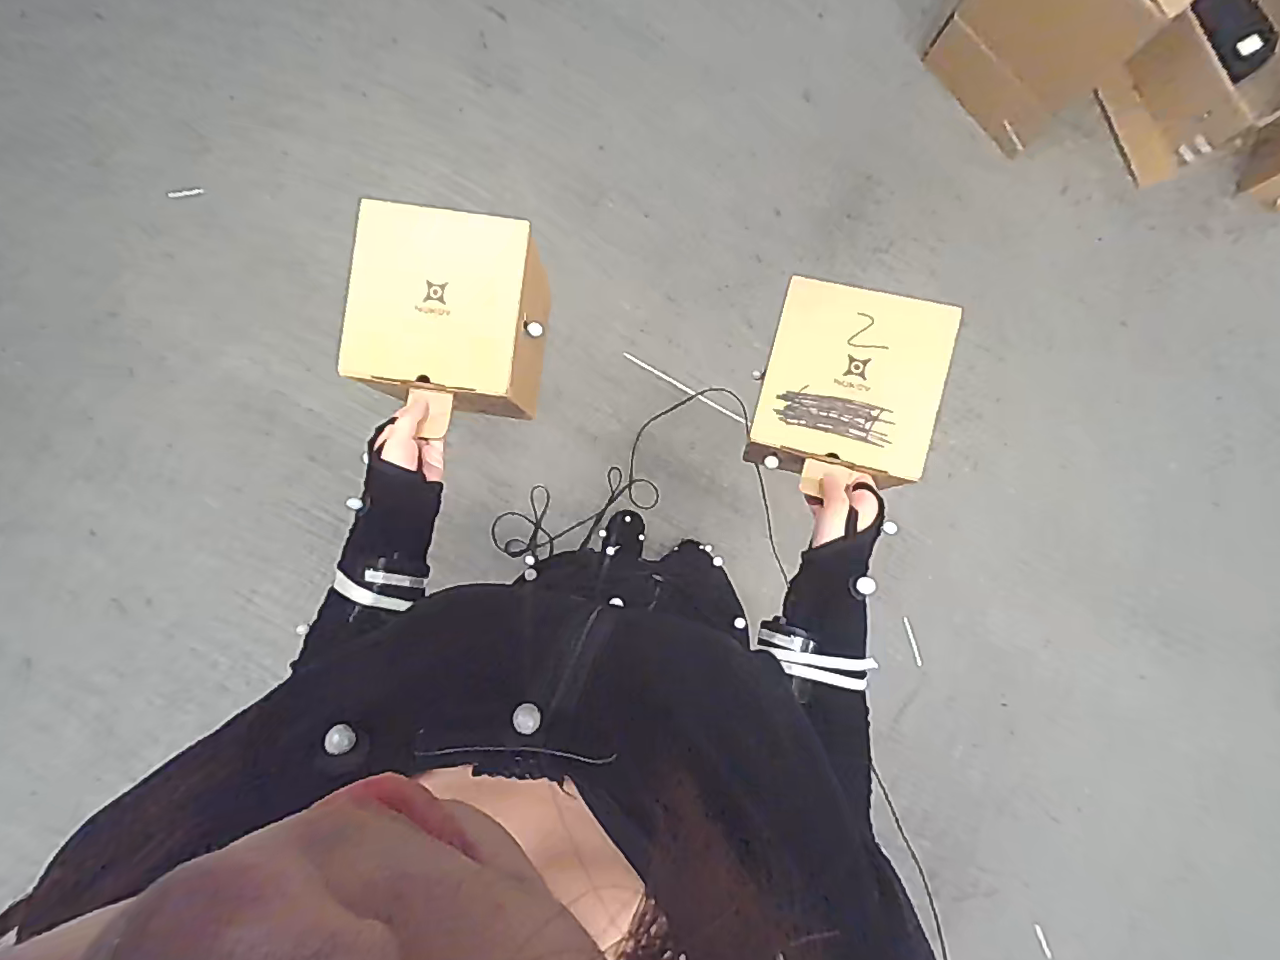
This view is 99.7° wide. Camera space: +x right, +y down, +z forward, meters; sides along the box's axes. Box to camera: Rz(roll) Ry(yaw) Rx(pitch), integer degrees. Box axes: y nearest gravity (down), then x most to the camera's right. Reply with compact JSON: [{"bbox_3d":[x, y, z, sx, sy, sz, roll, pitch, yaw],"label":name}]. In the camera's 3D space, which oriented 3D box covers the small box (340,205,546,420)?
[{"bbox_3d":[-0.205,-0.174,0.613,0.168,0.176,0.179,7,89,-2],"label":"small box"}]
